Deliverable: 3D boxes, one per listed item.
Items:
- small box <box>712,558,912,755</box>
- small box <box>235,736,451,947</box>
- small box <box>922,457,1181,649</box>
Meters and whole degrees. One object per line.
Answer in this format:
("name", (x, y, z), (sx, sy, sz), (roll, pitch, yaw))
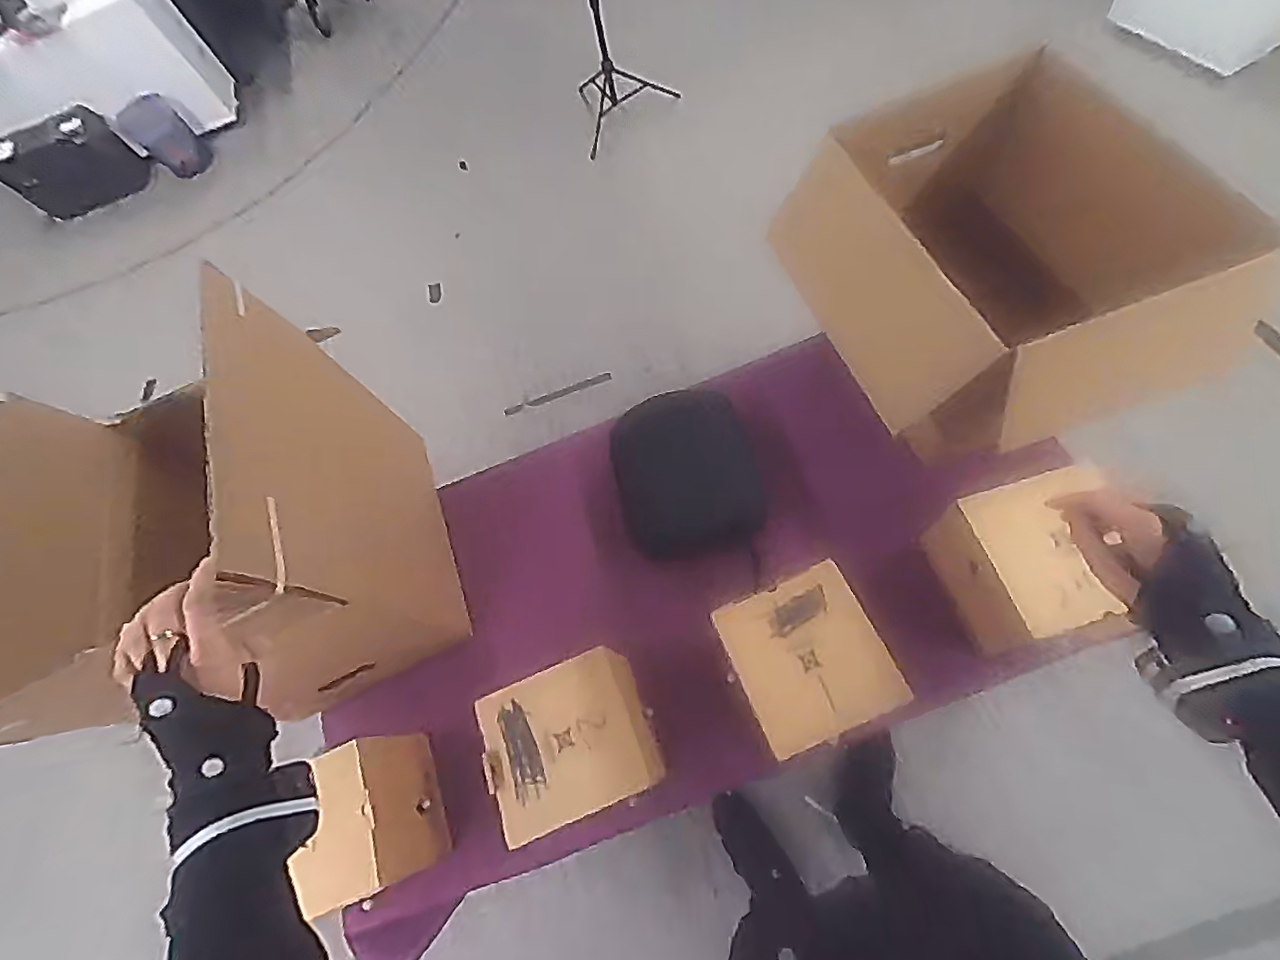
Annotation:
("small box", (0.203, 0.227, 0.692), (0.168, 0.176, 0.179), (-25, 66, 1))
("small box", (-0.382, 0.455, 0.711), (0.179, 0.176, 0.168), (-25, 65, -2))
("small box", (0.492, 0.101, 0.686), (0.168, 0.176, 0.179), (-18, 65, 5))
